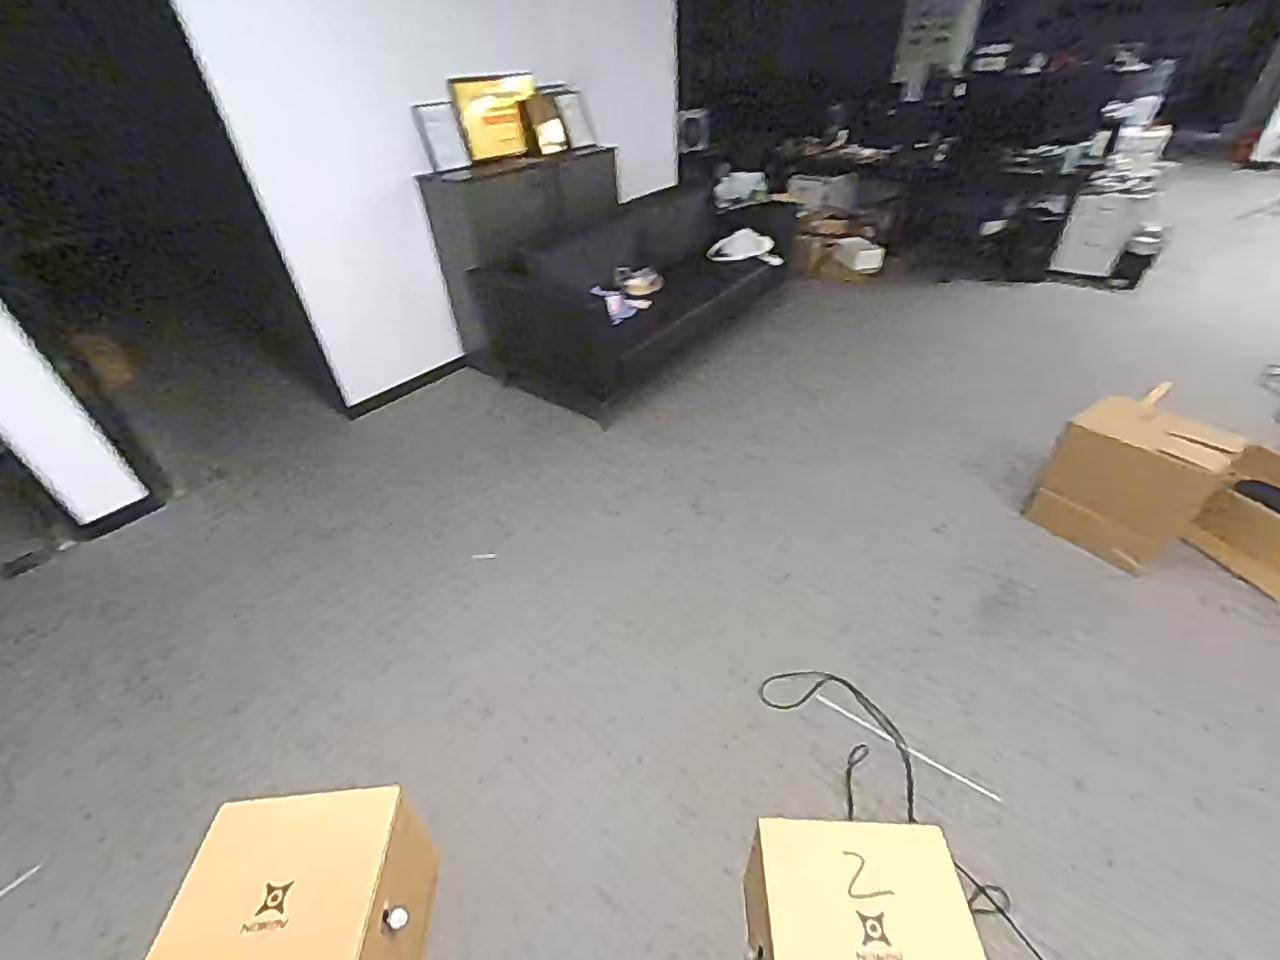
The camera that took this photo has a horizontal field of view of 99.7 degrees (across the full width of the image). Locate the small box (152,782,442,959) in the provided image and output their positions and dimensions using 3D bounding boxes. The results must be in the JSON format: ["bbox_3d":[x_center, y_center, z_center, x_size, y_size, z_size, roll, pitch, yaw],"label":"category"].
[{"bbox_3d":[-0.293,0.408,0.495,0.168,0.176,0.179,-3,37,-3],"label":"small box"}]
